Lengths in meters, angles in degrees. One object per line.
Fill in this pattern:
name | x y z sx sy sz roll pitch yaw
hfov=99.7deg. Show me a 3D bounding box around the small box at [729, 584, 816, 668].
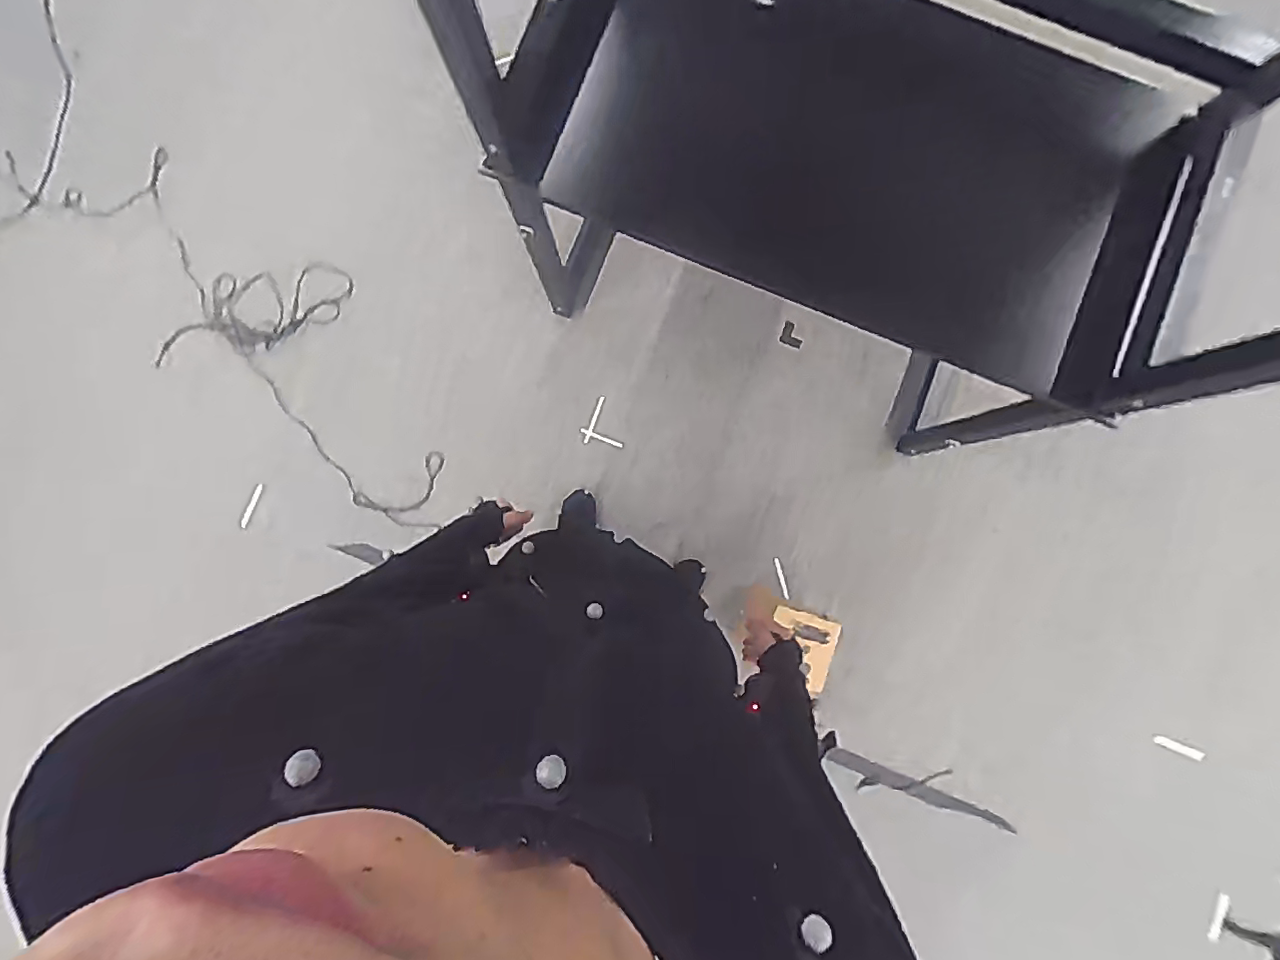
small box | 0.375 0.411 1.556 0.179 0.176 0.168 22 87 1
